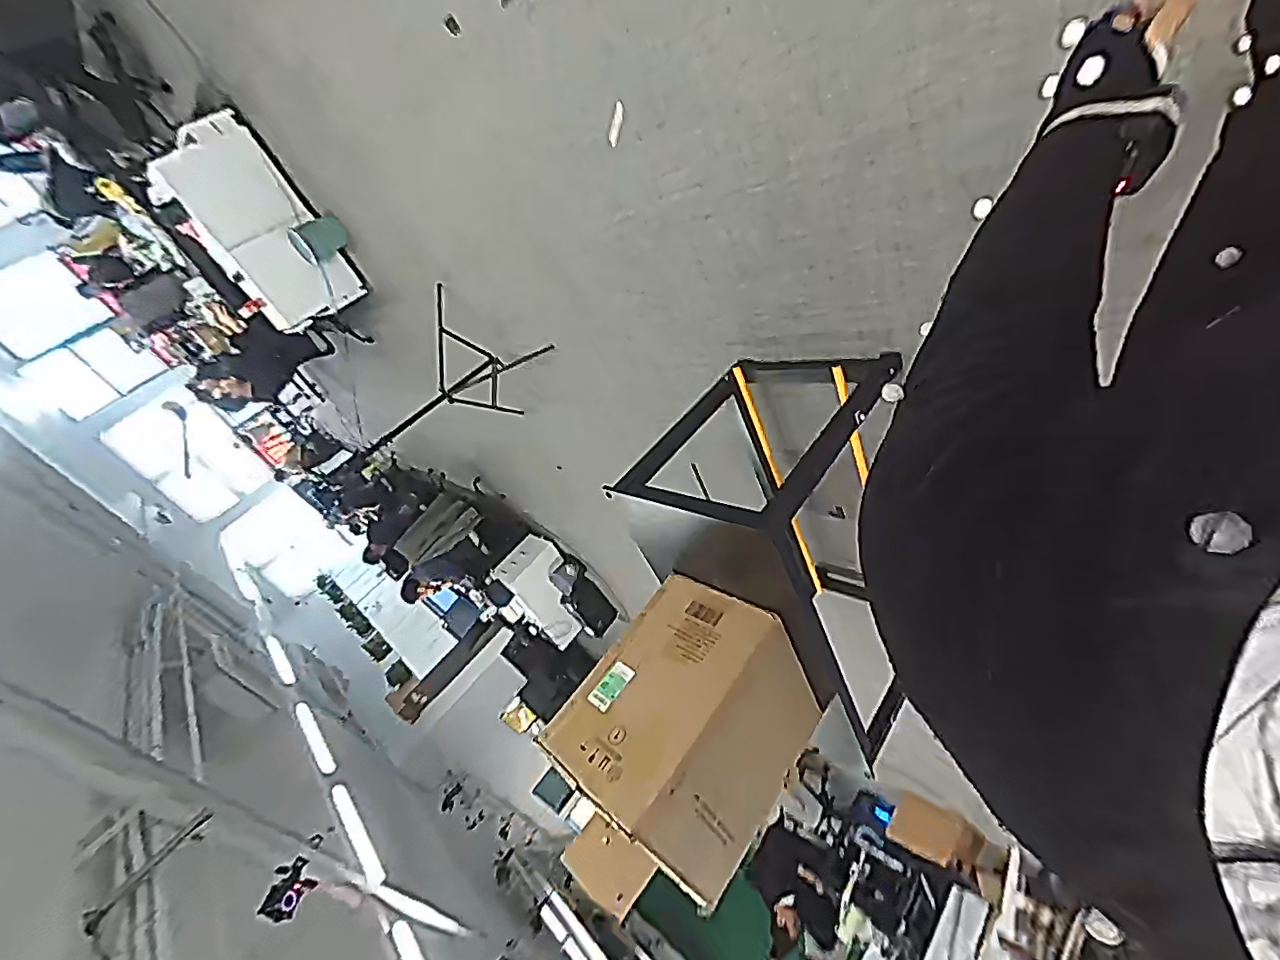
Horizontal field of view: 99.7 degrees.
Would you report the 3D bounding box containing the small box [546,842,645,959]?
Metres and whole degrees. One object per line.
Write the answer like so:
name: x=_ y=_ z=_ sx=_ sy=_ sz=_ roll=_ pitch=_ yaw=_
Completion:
small box: x=-0.115 y=1.139 z=1.470 sx=0.168 sy=0.176 sz=0.179 roll=15 pitch=141 yaw=47
